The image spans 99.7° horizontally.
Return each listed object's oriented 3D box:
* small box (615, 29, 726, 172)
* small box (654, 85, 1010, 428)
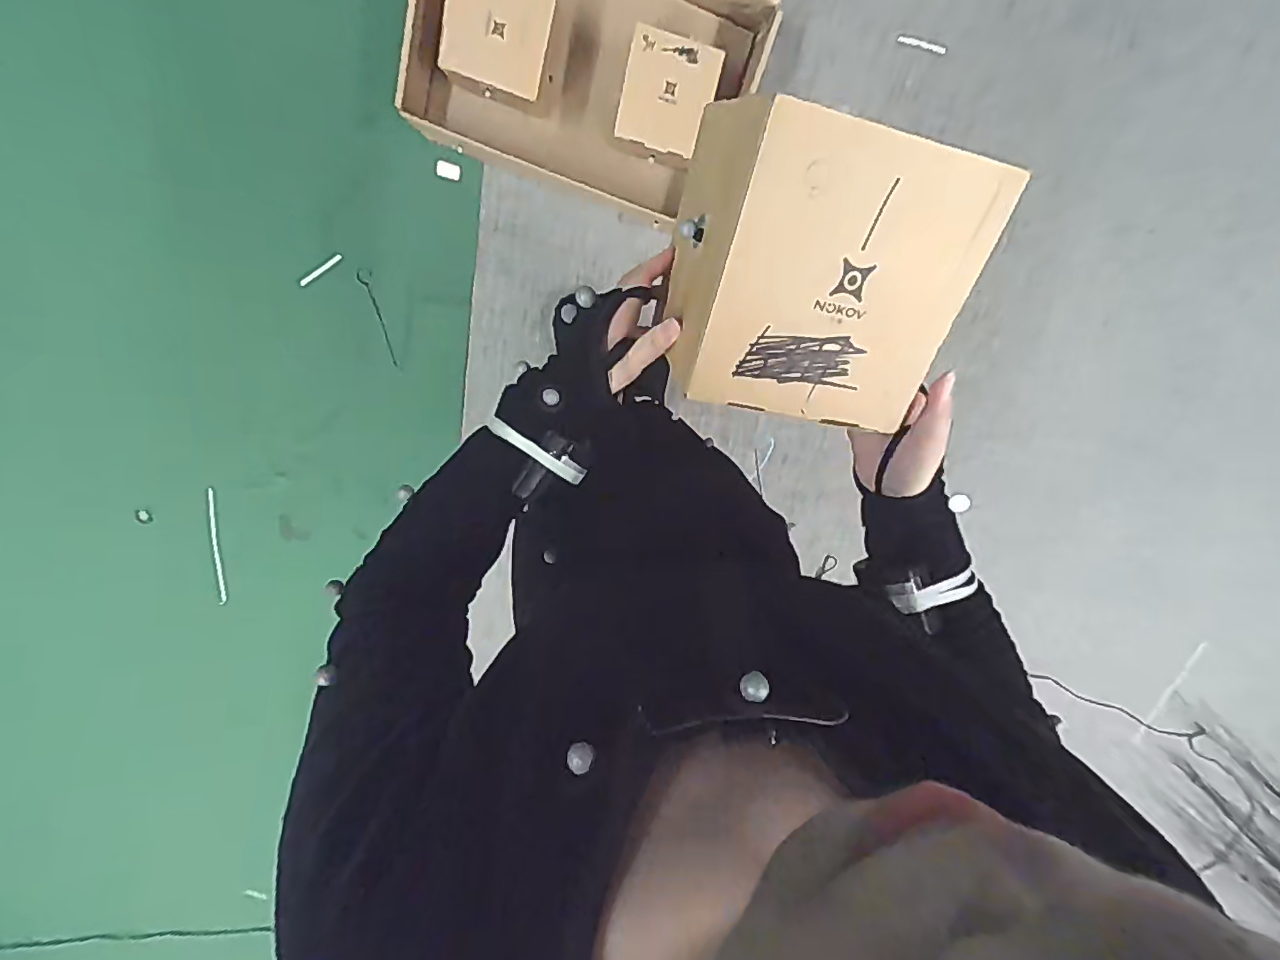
[{"bbox_3d":[0.051,-0.716,1.045,0.168,0.176,0.179,12,113,-8],"label":"small box"},{"bbox_3d":[0.111,-0.163,0.406,0.168,0.176,0.179,8,120,-12],"label":"small box"}]
